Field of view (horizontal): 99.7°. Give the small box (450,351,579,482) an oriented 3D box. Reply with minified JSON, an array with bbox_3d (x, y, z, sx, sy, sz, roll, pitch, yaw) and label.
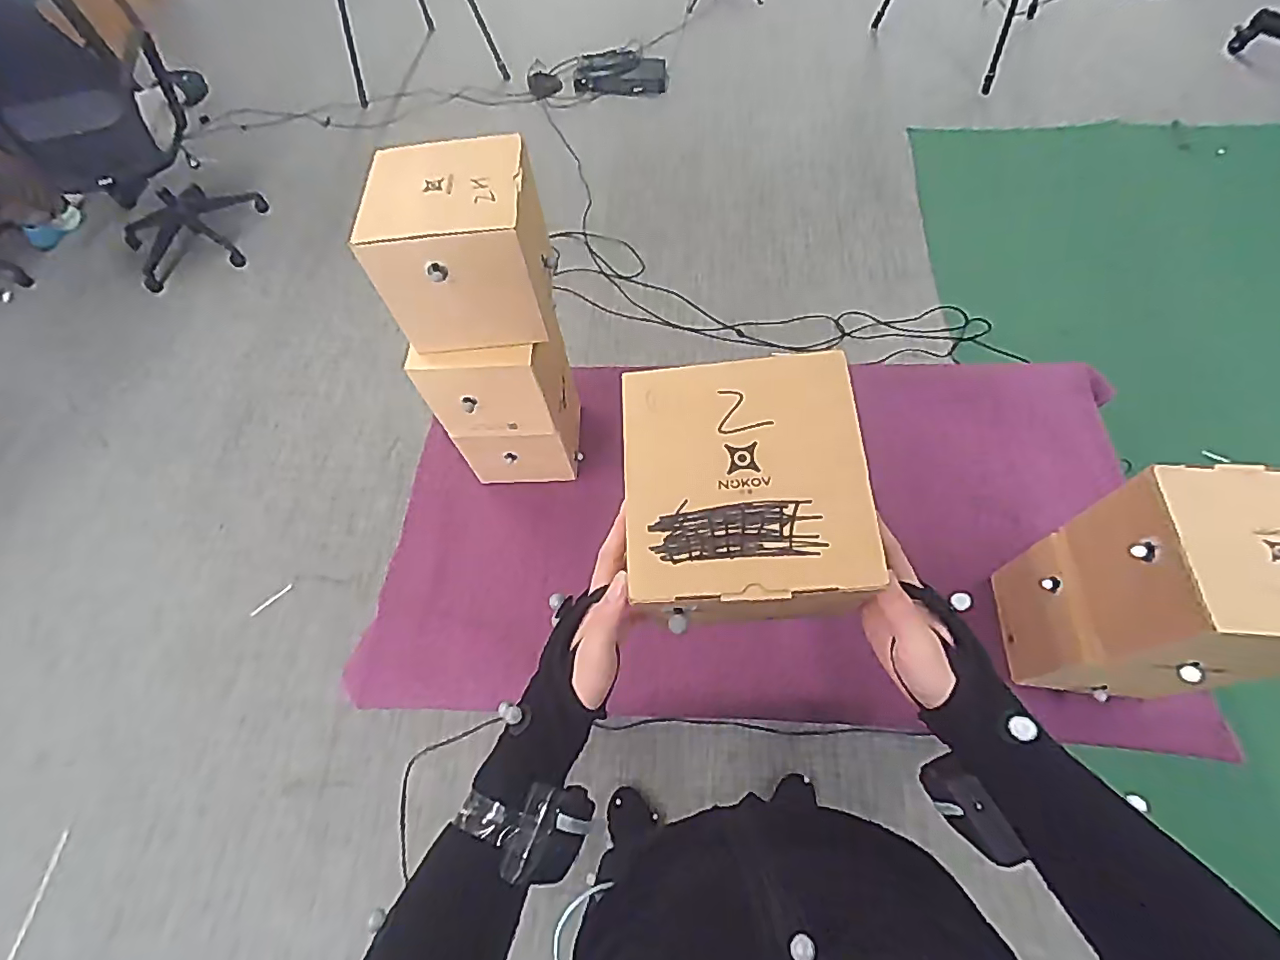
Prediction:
[{"bbox_3d":[-0.204,-0.105,0.938,0.179,0.176,0.168,-2,62,3],"label":"small box"}]

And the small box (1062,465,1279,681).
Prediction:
[{"bbox_3d":[0.600,0.104,0.581,0.168,0.176,0.179,3,62,8],"label":"small box"}]

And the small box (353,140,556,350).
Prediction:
[{"bbox_3d":[-0.207,-0.276,0.660,0.179,0.176,0.168,-4,62,2],"label":"small box"}]

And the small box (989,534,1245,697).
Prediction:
[{"bbox_3d":[0.609,0.186,0.721,0.179,0.176,0.168,4,61,7],"label":"small box"}]

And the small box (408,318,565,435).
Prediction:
[{"bbox_3d":[-0.210,-0.176,0.793,0.168,0.176,0.179,-1,61,3],"label":"small box"}]
